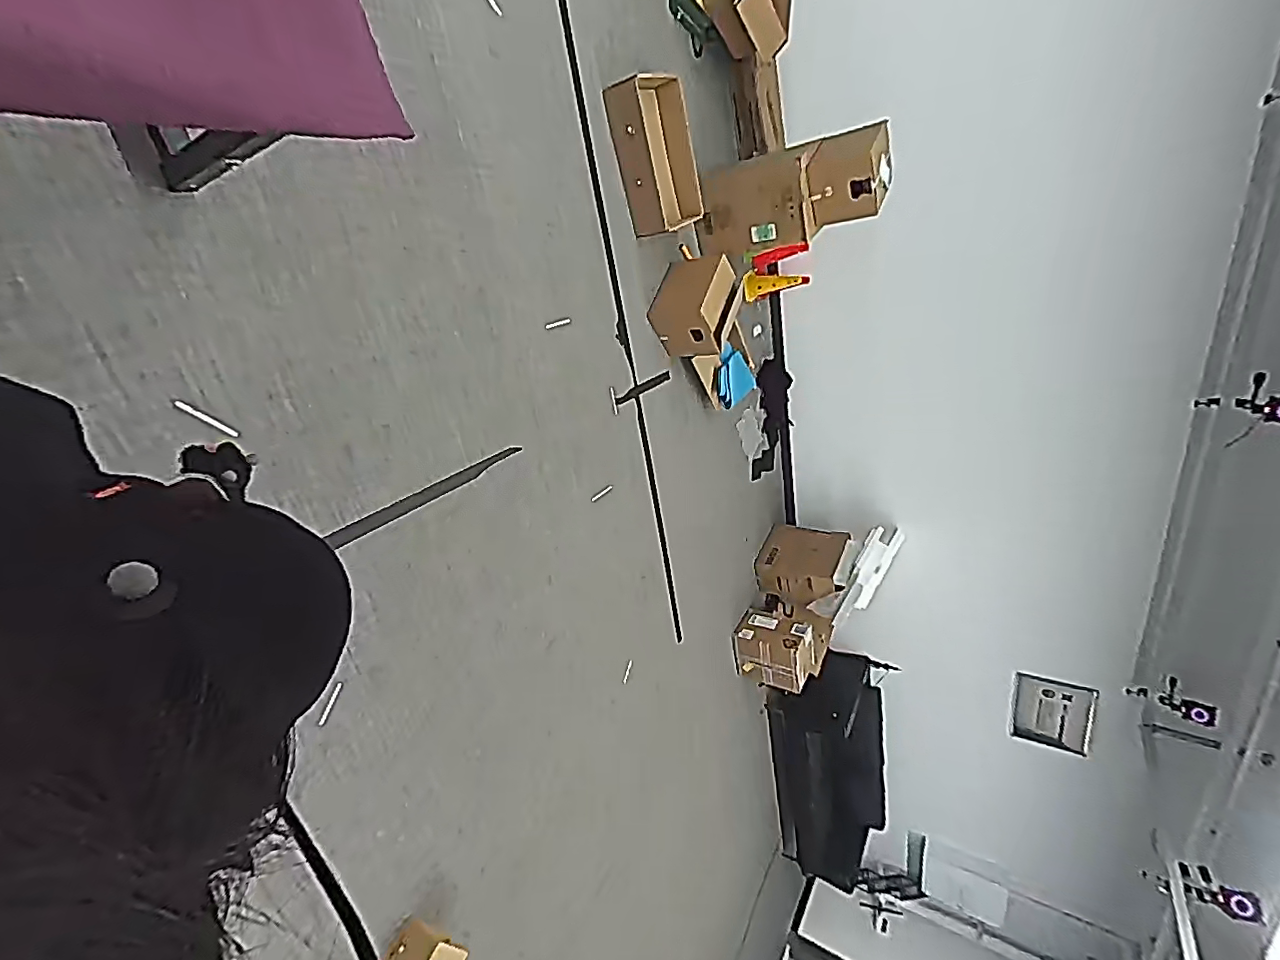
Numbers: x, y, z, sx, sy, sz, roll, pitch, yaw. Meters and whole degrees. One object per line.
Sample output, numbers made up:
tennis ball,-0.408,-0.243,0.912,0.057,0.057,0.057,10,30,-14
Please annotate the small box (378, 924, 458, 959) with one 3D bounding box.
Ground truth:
small box,-0.752,1.625,1.795,0.168,0.176,0.179,-57,137,-36
